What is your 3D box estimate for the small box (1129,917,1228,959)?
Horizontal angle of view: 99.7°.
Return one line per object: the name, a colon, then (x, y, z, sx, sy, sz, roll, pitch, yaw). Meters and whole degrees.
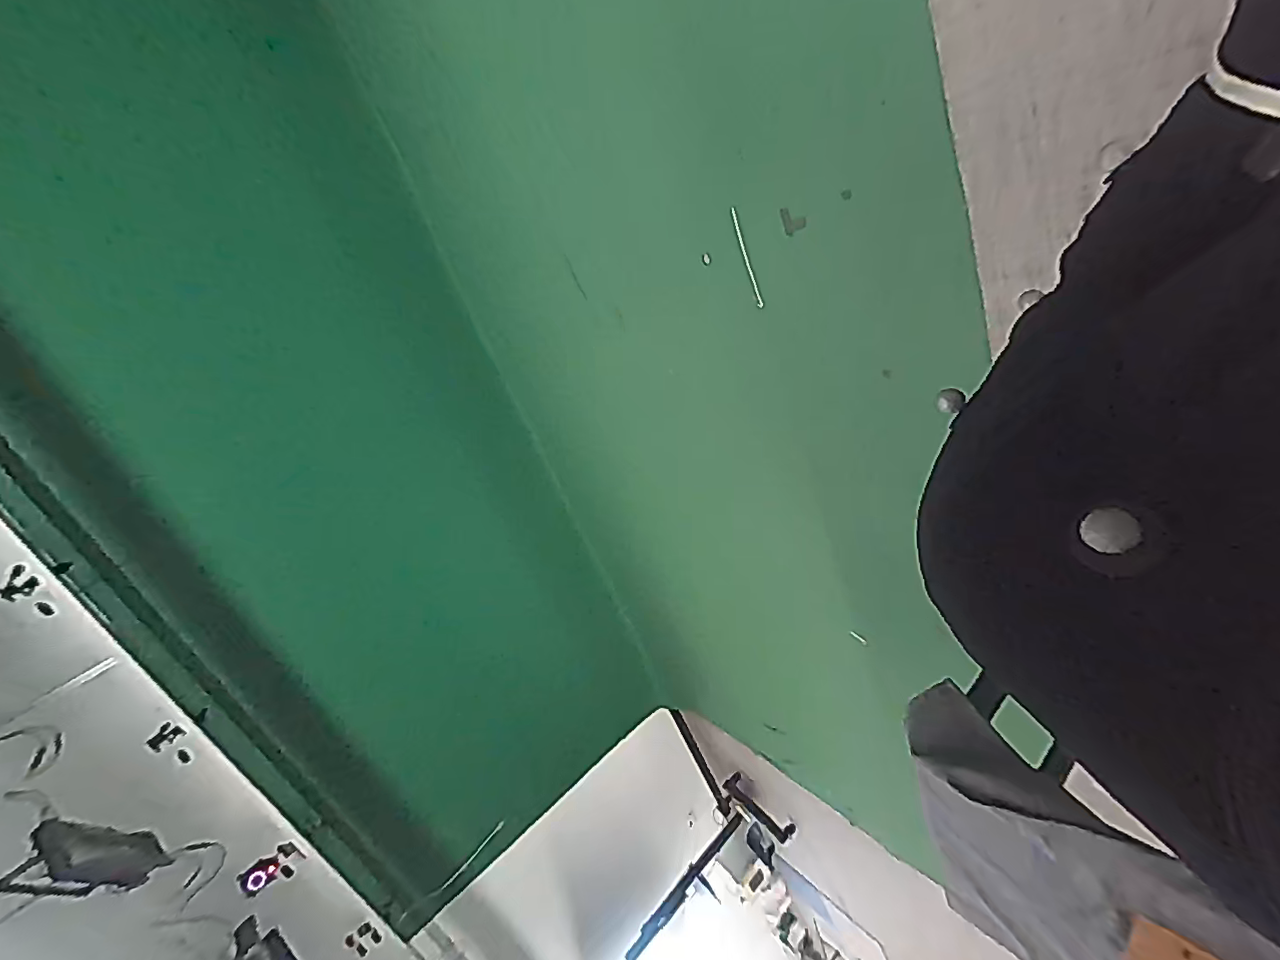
small box: (0.851, 0.829, 0.818, 0.168, 0.176, 0.179, 9, 128, 55)
